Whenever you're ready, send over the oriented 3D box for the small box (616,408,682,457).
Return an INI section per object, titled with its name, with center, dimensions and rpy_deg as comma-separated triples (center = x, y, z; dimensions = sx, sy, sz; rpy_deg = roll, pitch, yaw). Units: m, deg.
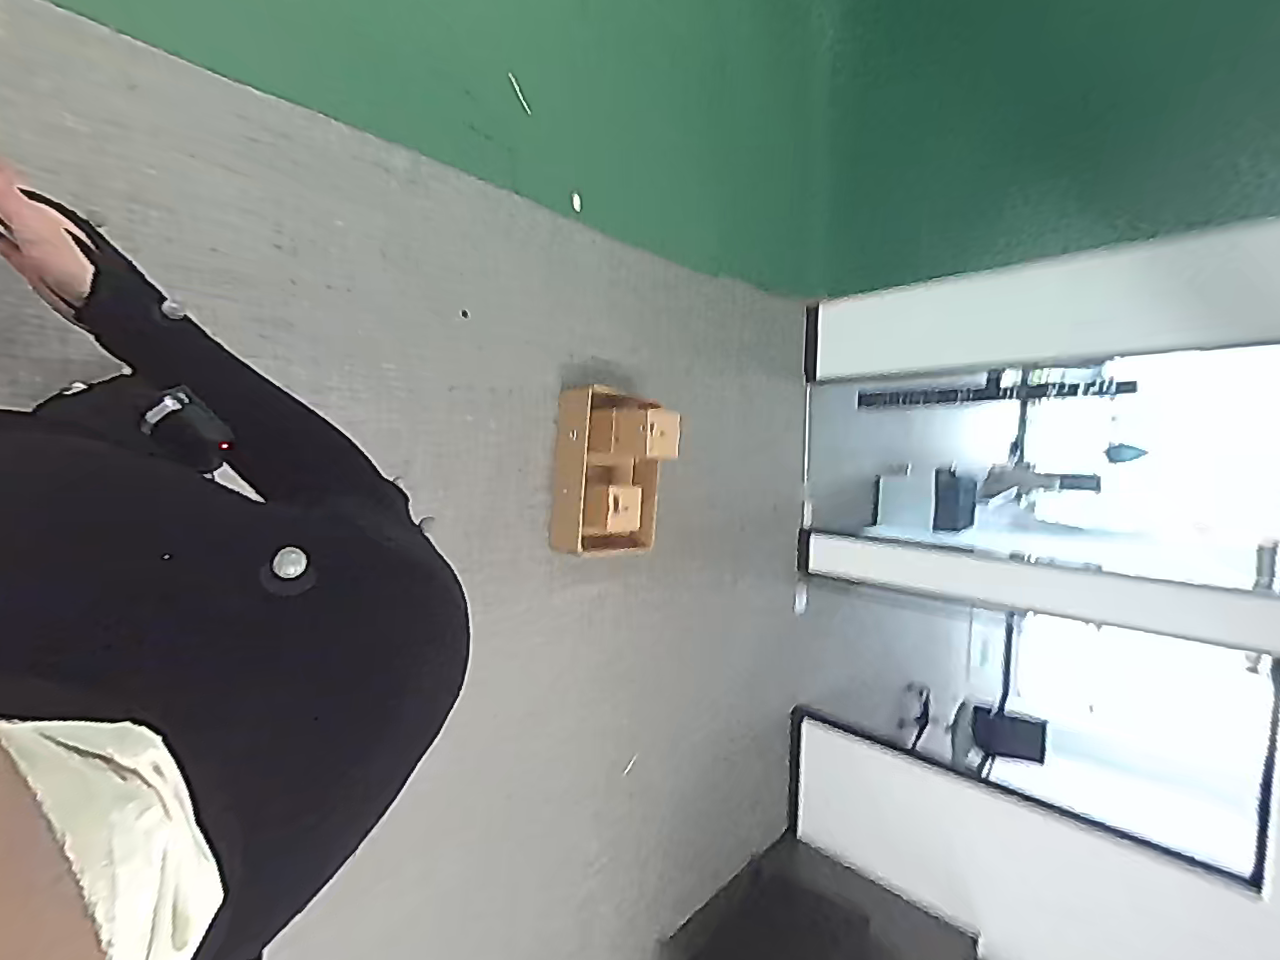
[small box]
center = 0.033, -0.171, 1.964
dimensions = 0.179, 0.176, 0.168
rpy_deg = 0, 93, -47
